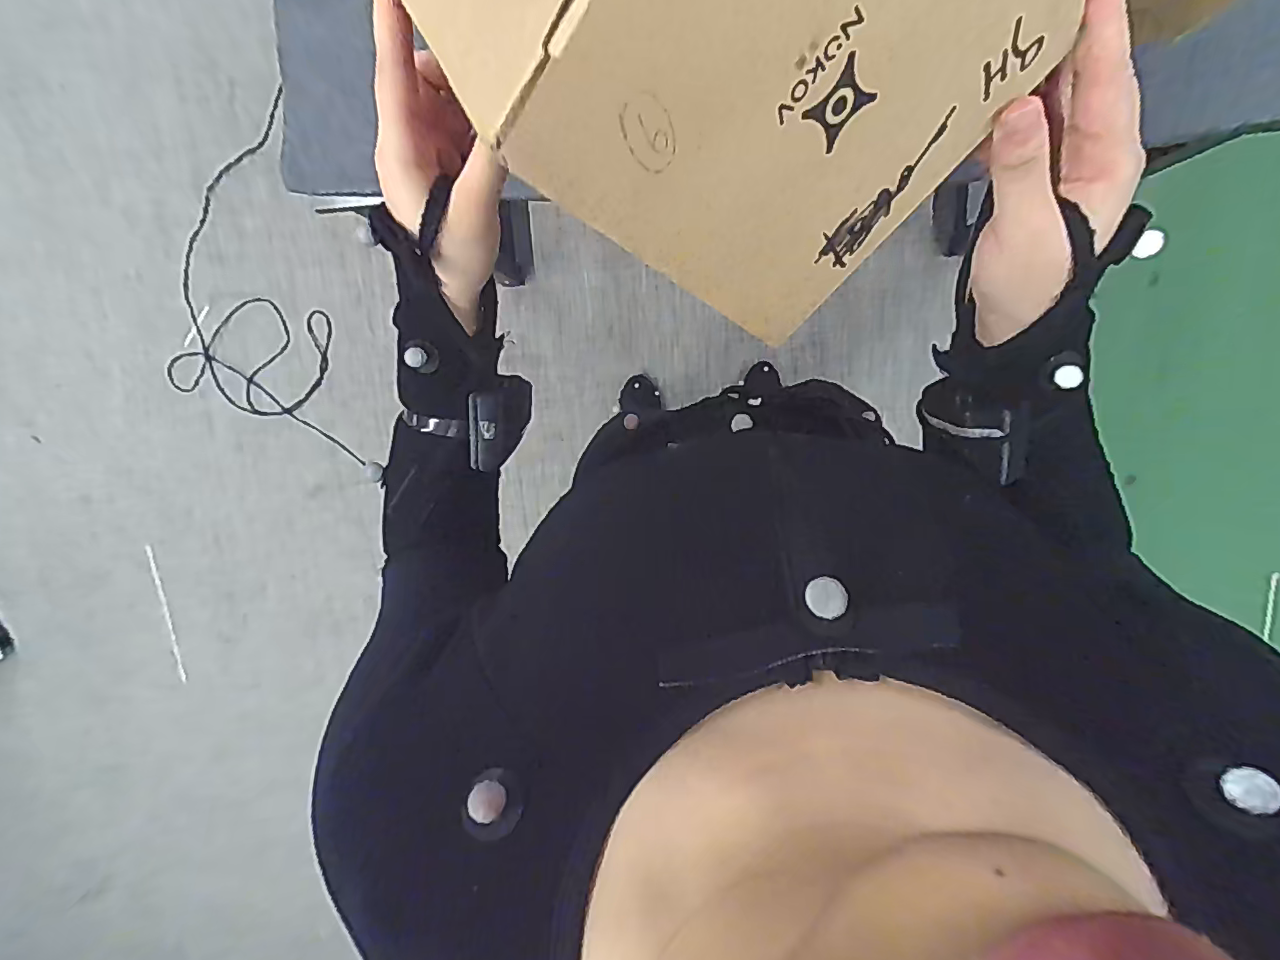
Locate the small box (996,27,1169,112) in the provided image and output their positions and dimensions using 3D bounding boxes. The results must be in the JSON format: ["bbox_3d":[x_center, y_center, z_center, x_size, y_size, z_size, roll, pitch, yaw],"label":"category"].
[{"bbox_3d":[0.401,-0.502,0.539,0.168,0.176,0.179,-1,100,6],"label":"small box"}]

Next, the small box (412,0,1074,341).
[{"bbox_3d":[0.027,-0.196,0.226,0.168,0.179,0.176,-45,54,27],"label":"small box"}]
